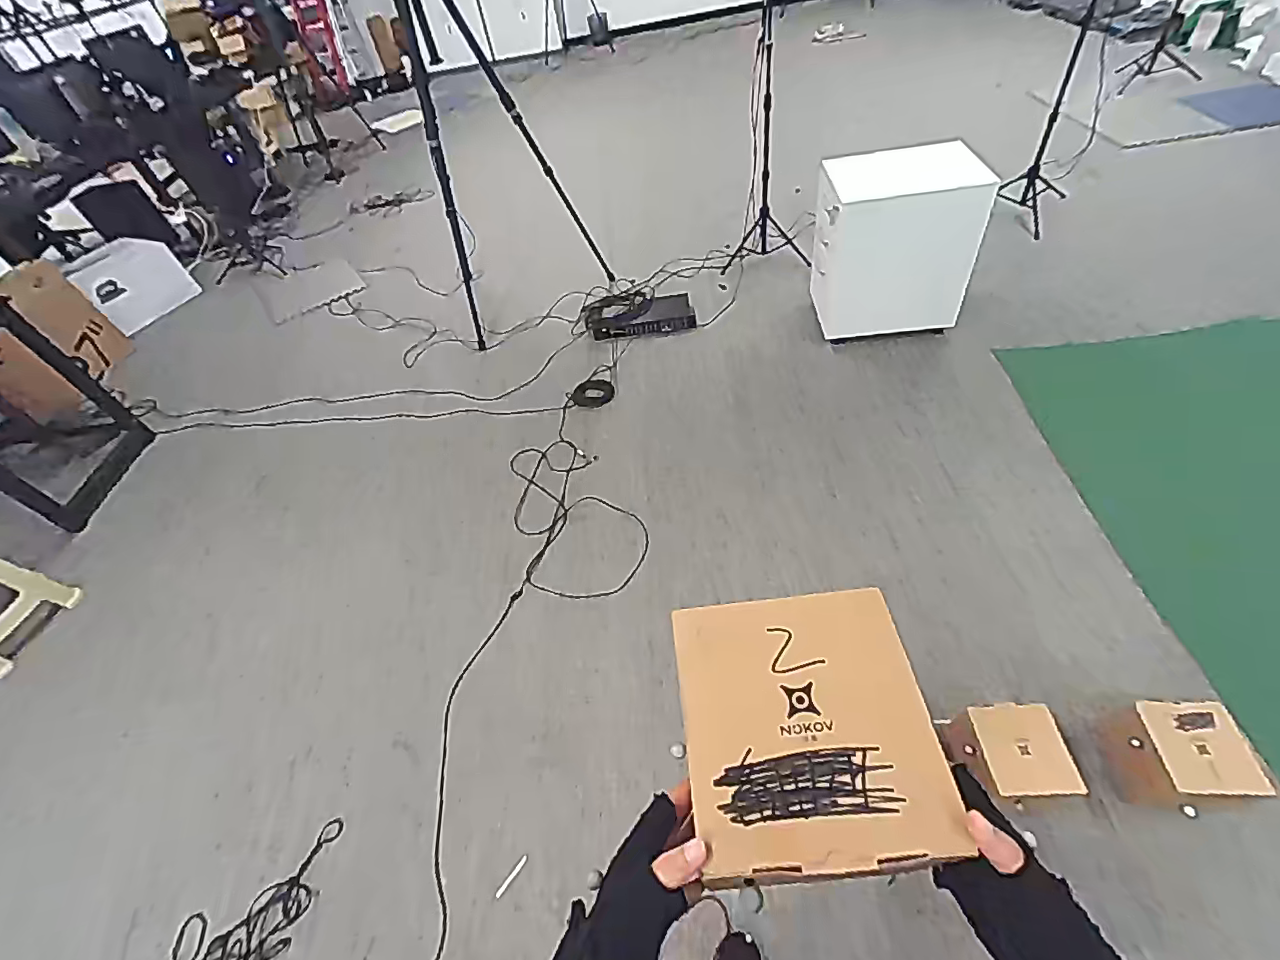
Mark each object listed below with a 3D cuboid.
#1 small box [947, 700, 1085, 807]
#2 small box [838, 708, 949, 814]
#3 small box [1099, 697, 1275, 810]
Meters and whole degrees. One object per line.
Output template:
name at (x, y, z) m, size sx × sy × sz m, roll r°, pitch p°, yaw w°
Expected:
small box at (0.802, 0.600, 1.176) m, size 0.168 × 0.176 × 0.179 m, roll -6°, pitch 48°, yaw 6°
small box at (0.549, 0.625, 1.199) m, size 0.168 × 0.176 × 0.179 m, roll -6°, pitch 49°, yaw 7°
small box at (1.124, 0.574, 1.136) m, size 0.168 × 0.176 × 0.179 m, roll -3°, pitch 50°, yaw 9°
